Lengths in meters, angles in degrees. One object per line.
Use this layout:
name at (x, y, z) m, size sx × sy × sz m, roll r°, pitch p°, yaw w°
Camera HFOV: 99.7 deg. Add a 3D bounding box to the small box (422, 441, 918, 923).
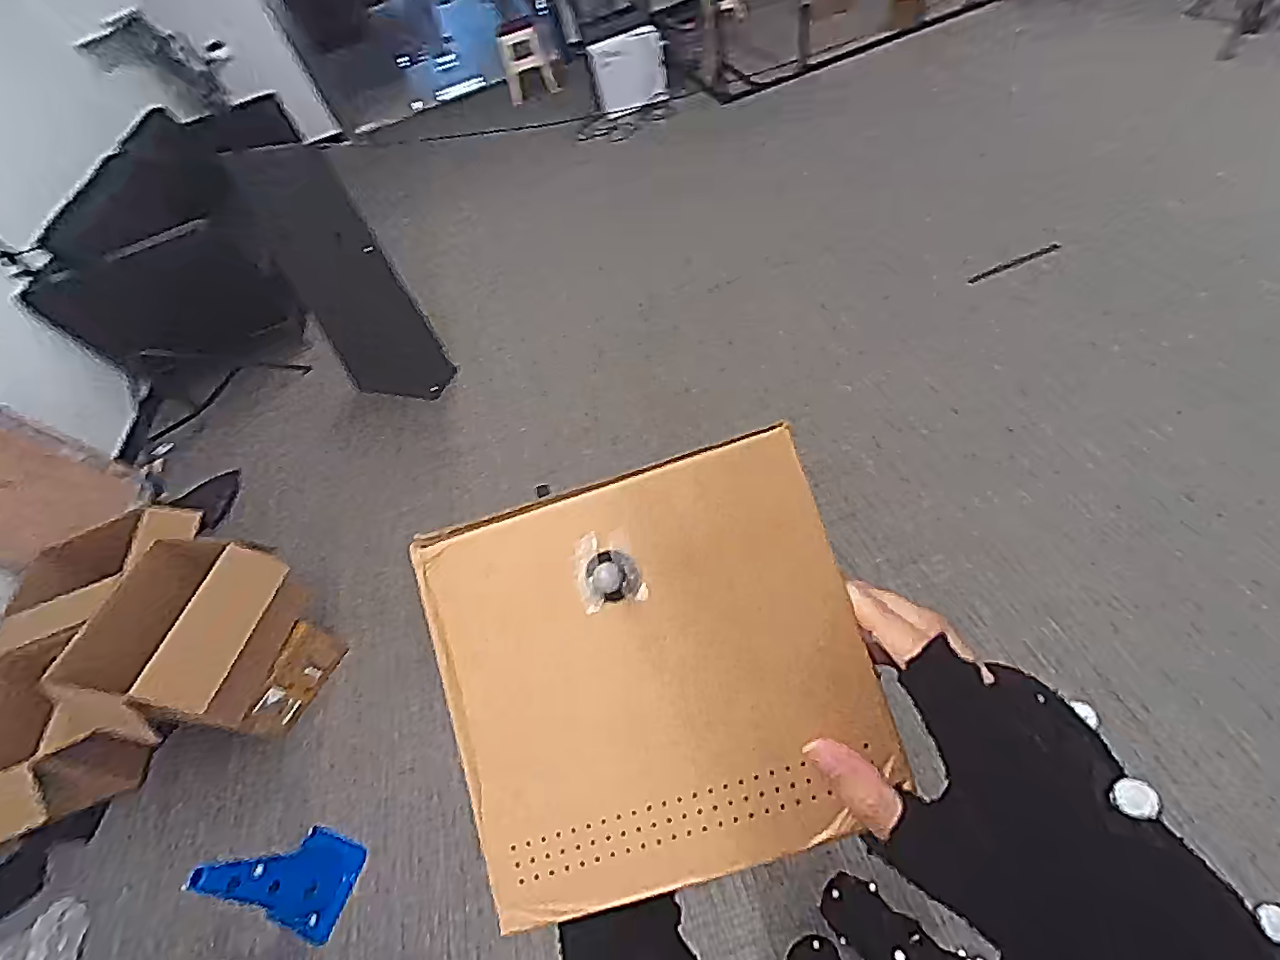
small box at (0.015, 0.096, 0.303) m, size 0.179 × 0.168 × 0.176 m, roll -18°, pitch 83°, yaw 4°
